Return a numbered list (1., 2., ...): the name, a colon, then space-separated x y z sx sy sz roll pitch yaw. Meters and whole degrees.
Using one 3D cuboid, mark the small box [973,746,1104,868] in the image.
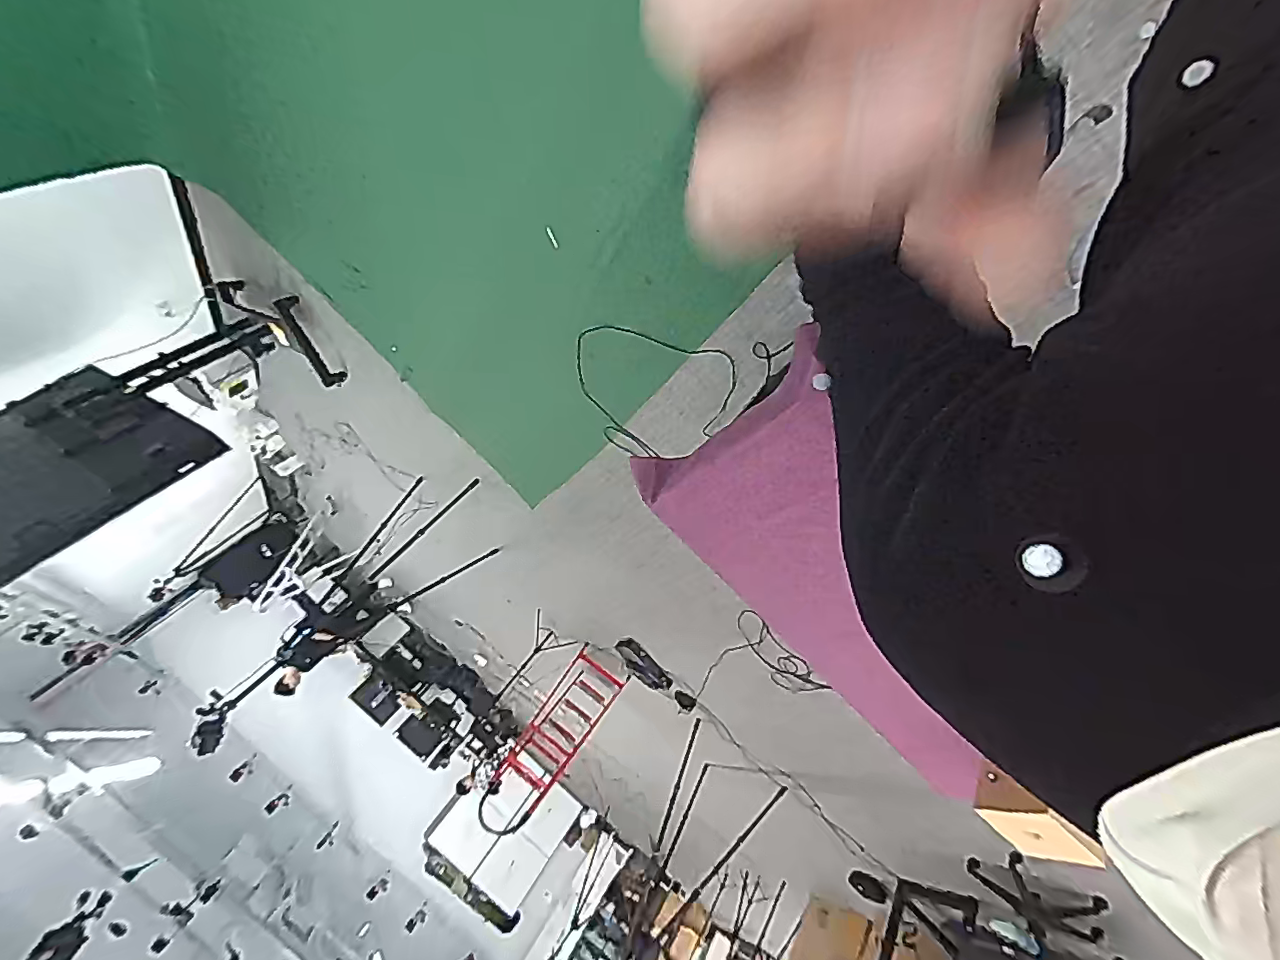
1. small box: 0.901 0.725 1.220 0.168 0.176 0.179 42 144 -1
